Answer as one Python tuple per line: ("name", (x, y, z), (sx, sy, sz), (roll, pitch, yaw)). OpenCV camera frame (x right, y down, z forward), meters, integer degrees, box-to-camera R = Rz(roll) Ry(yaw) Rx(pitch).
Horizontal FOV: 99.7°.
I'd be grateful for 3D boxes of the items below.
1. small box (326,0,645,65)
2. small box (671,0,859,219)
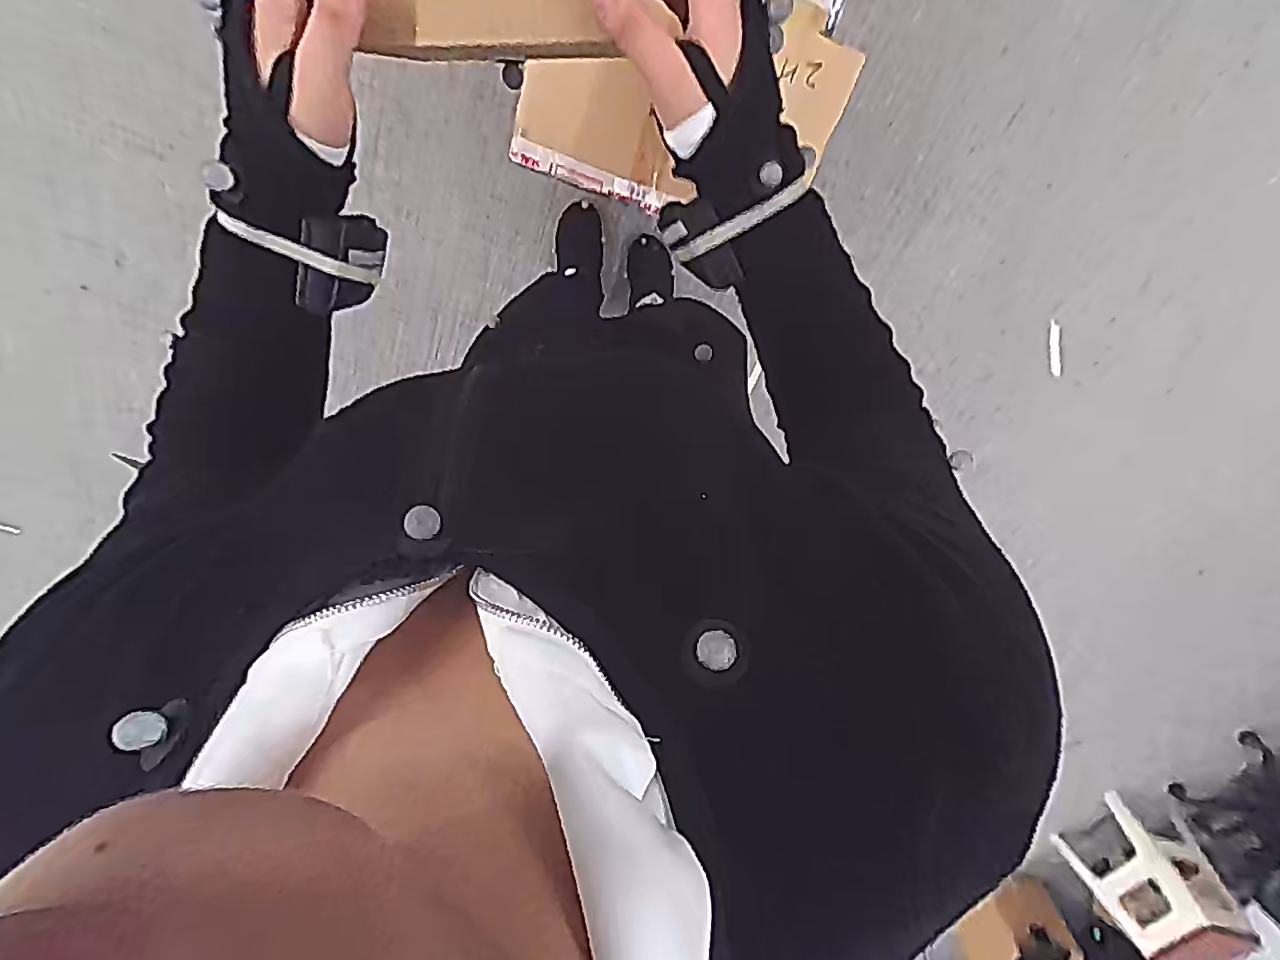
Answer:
("small box", (-0.081, -0.347, 0.304), (0.168, 0.176, 0.179), (0, 128, 2))
("small box", (0.145, -0.466, 0.703), (0.168, 0.176, 0.179), (16, 120, -11))
